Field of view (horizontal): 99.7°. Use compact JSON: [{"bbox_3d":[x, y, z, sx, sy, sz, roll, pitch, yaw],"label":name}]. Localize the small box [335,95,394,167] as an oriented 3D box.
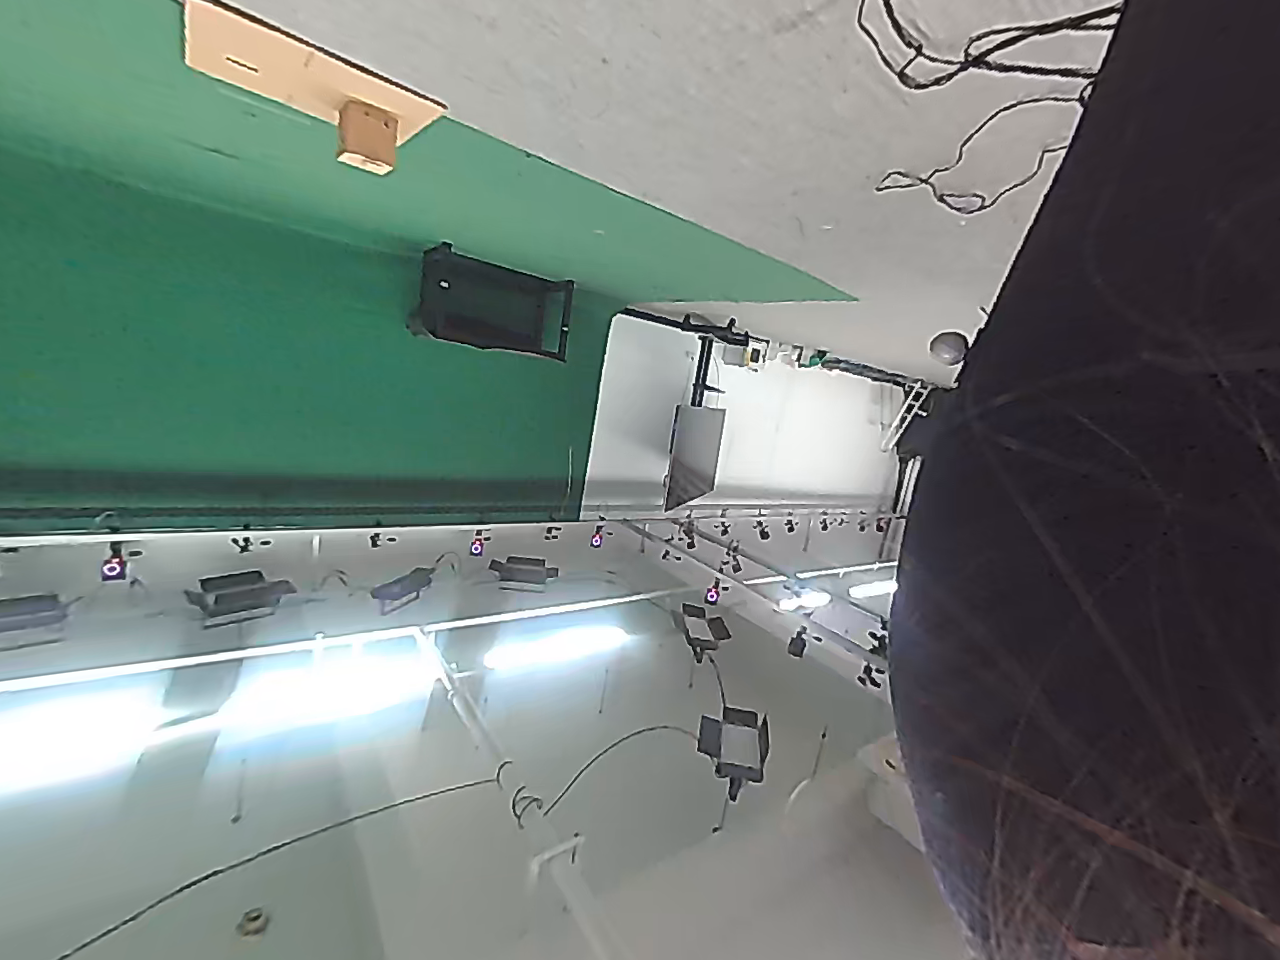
[{"bbox_3d":[-1.032,-1.306,2.026,0.168,0.176,0.179,0,-164,-41],"label":"small box"}]
